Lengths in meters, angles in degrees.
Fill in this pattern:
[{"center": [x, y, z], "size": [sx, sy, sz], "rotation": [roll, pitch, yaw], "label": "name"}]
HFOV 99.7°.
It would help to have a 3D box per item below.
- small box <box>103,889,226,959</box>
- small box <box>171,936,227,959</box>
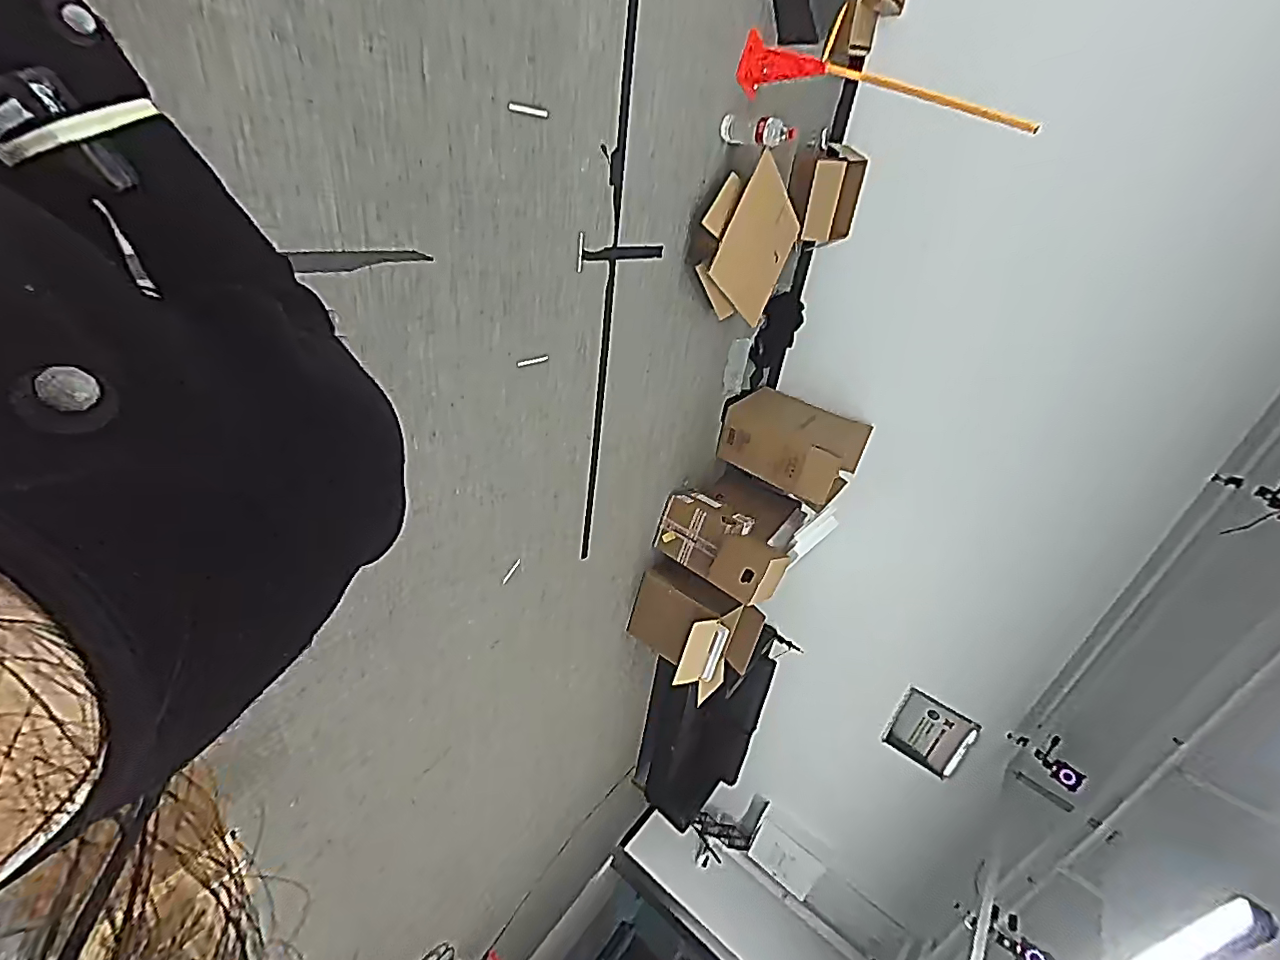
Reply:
[{"center": [-1.210, 1.207, 1.380], "size": [0.179, 0.176, 0.168], "rotation": [-29, 135, -44], "label": "small box"}, {"center": [-1.080, 1.262, 1.300], "size": [0.168, 0.176, 0.179], "rotation": [-29, 135, -45], "label": "small box"}]
